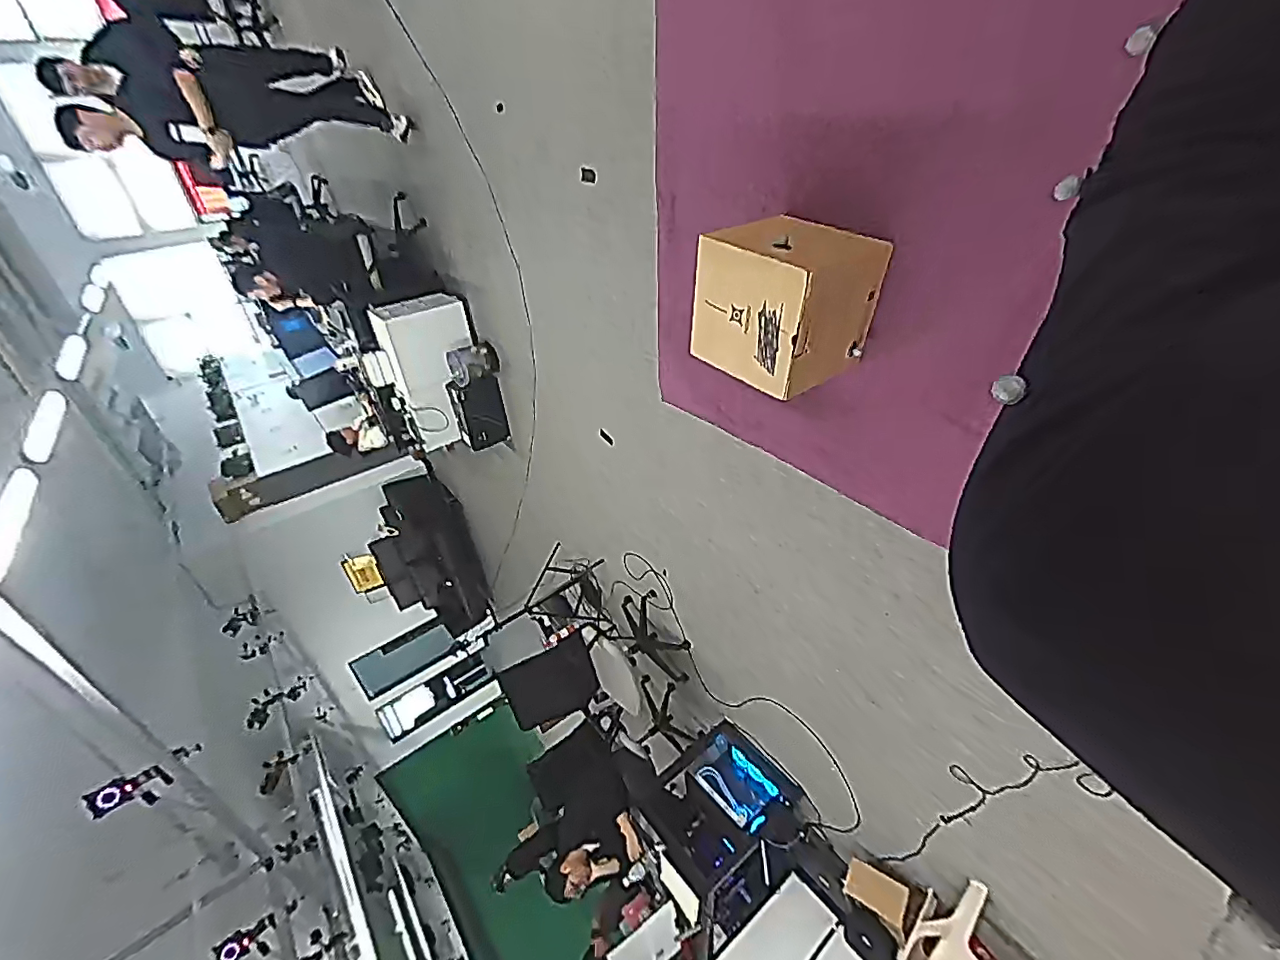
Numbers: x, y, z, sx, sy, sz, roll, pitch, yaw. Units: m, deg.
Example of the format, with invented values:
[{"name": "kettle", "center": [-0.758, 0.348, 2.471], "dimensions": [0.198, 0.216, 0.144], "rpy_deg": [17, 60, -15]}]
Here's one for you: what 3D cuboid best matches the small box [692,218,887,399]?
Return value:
[{"name": "small box", "center": [0.193, -0.238, 0.722], "dimensions": [0.179, 0.176, 0.168], "rpy_deg": [39, 142, 37]}]
